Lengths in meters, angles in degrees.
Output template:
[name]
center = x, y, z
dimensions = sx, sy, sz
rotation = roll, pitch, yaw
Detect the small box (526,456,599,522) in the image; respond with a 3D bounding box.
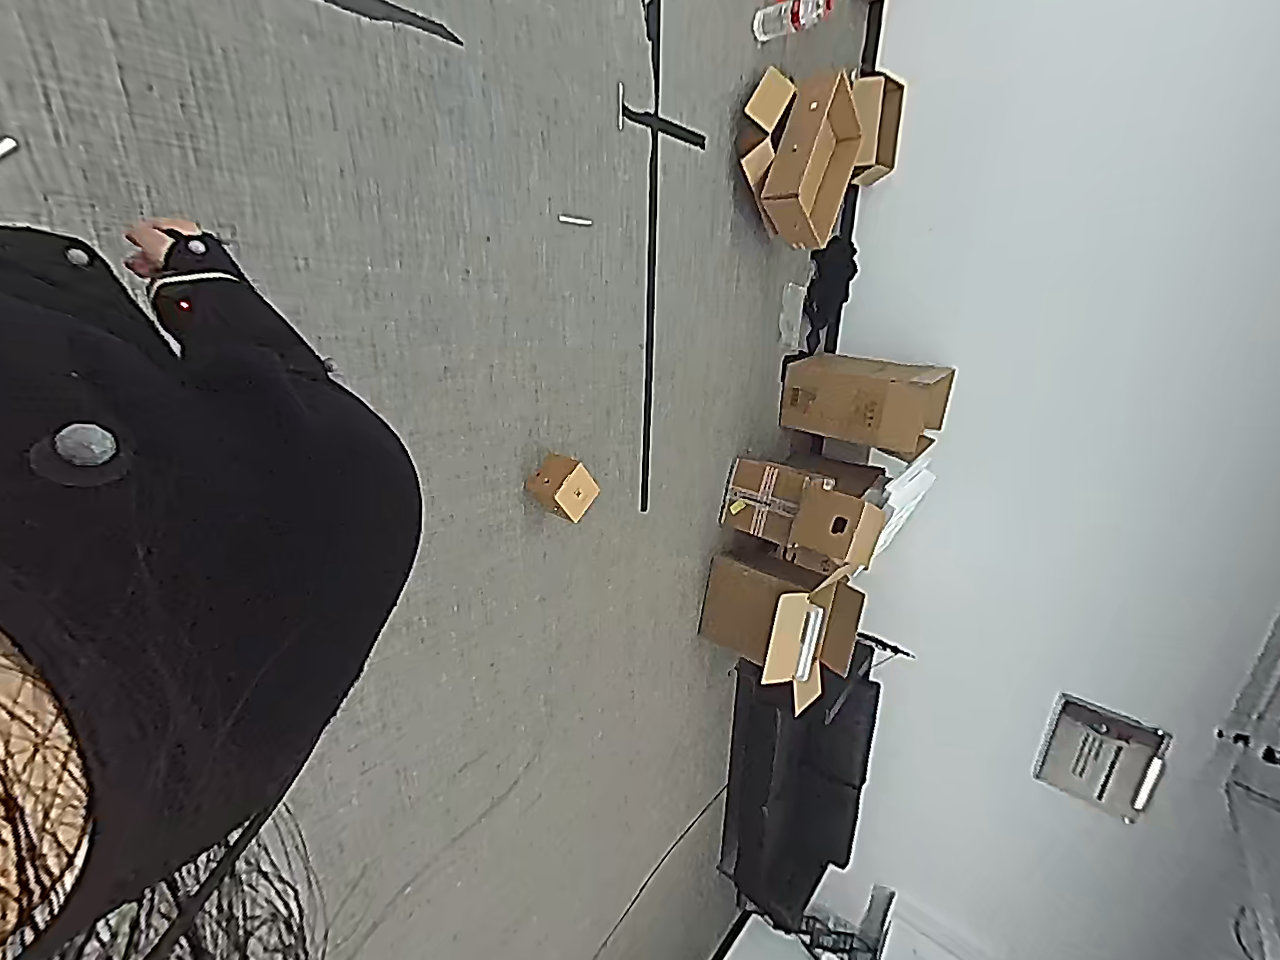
[small box]
center = -0.292, 0.026, 2.020
dimensions = 0.168, 0.176, 0.179
rotation = -55, 140, -21
